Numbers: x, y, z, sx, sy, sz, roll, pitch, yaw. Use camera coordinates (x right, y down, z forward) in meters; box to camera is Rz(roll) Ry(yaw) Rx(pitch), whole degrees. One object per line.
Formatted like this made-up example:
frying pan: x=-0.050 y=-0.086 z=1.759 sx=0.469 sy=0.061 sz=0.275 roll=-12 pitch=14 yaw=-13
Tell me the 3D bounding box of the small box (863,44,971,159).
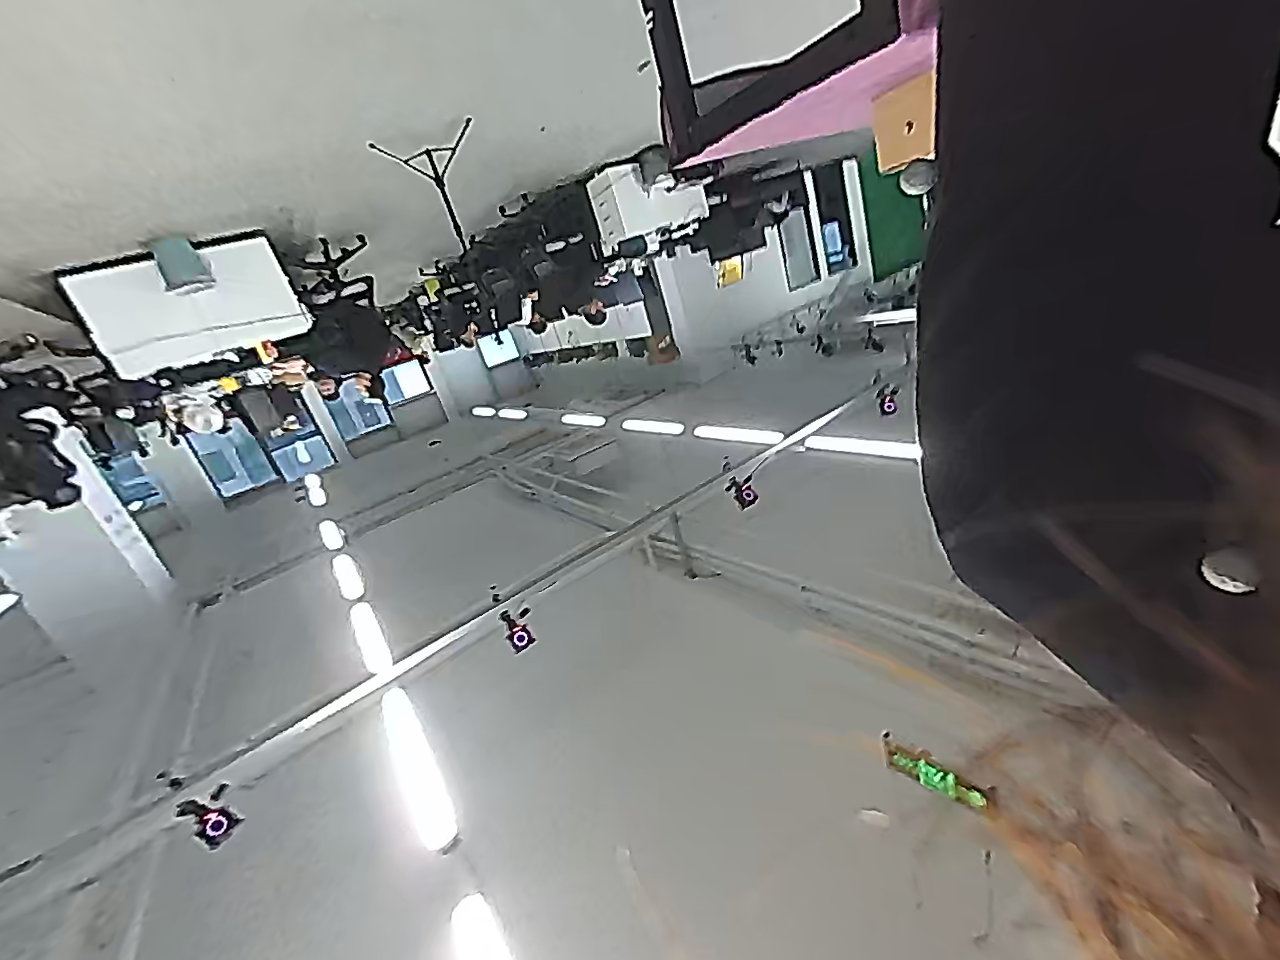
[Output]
small box: x=0.667 y=-0.915 z=1.314 sx=0.168 sy=0.176 sz=0.179 roll=-29 pitch=-159 yaw=-22
